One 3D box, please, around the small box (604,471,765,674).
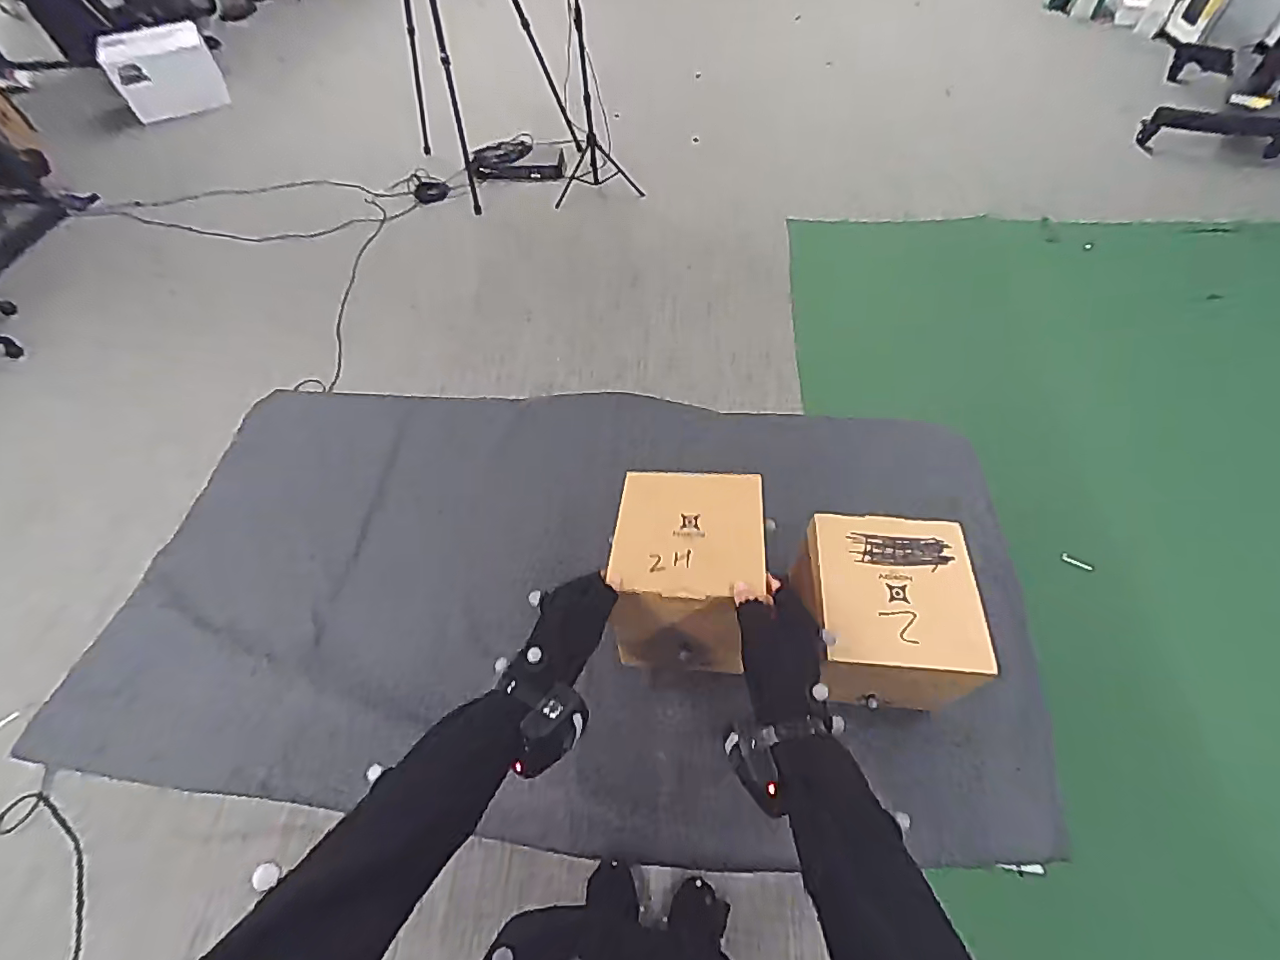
[{"bbox_3d":[0.060,0.110,0.656,0.168,0.176,0.179,1,45,9],"label":"small box"}]
